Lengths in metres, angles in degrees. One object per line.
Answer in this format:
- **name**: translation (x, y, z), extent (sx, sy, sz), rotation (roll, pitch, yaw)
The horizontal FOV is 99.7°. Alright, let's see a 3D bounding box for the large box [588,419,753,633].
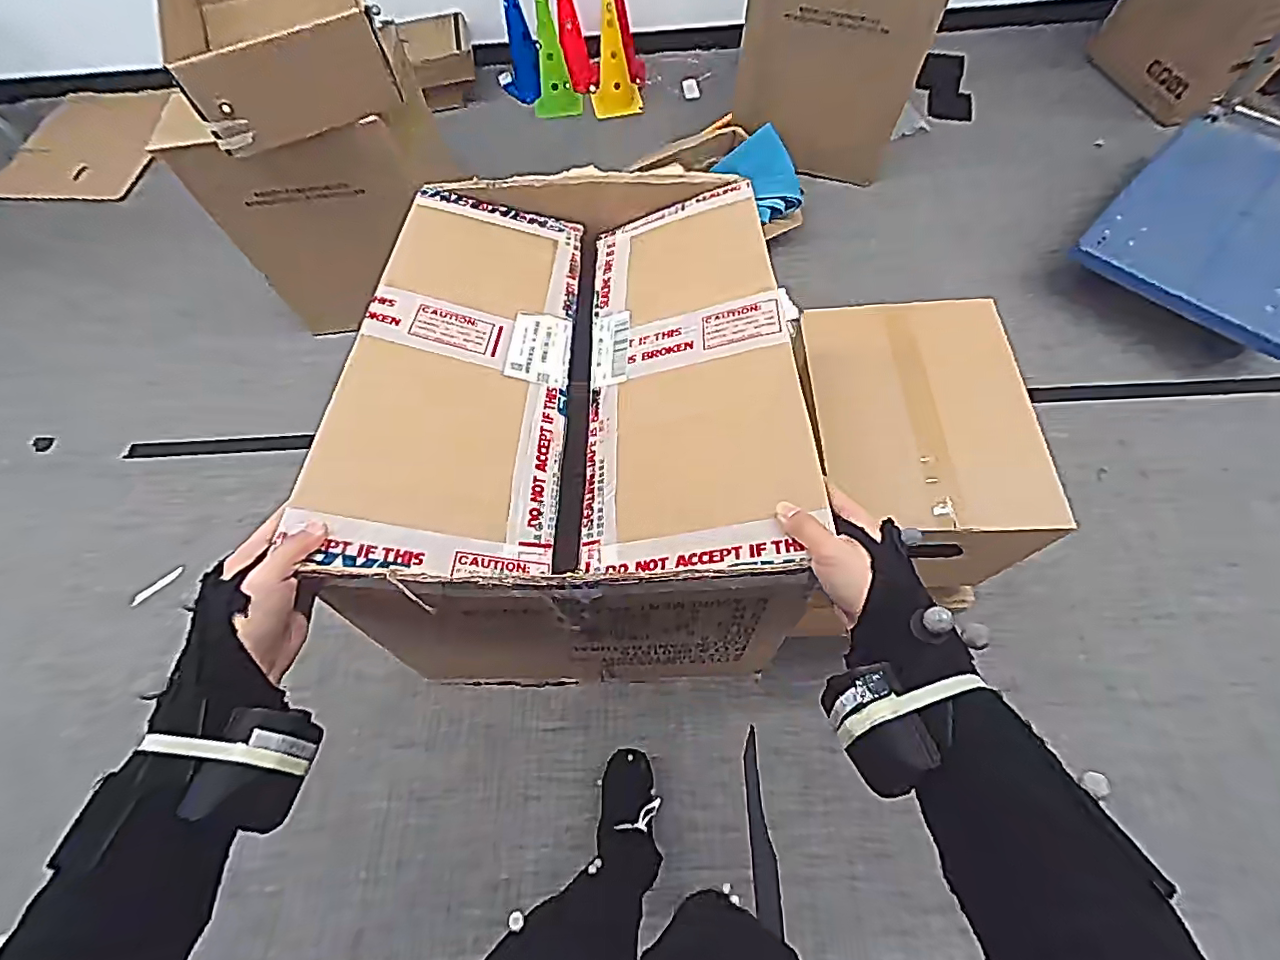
- **large box**: translation (0.057, 0.116, 1.241), extent (0.320, 0.320, 0.408), rotation (-4, 65, 2)
